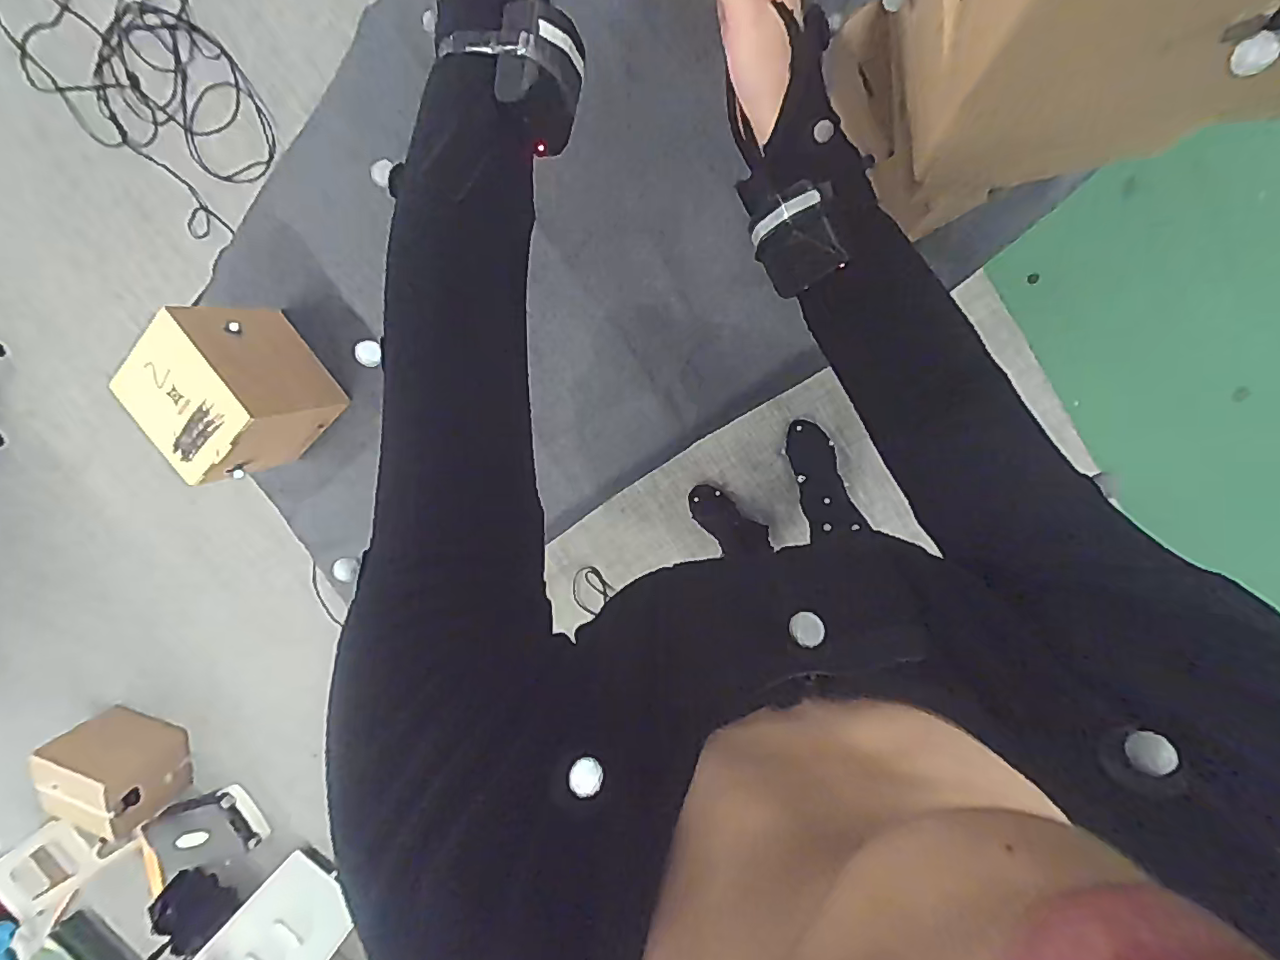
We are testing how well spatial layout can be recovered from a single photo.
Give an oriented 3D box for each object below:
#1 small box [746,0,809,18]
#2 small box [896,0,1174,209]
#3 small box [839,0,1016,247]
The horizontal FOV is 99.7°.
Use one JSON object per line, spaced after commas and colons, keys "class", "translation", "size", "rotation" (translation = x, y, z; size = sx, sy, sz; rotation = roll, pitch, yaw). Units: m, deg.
{"class": "small box", "translation": [0.110, -0.555, 0.462], "size": [0.179, 0.176, 0.168], "rotation": [33, 113, 0]}
{"class": "small box", "translation": [0.257, -0.281, 0.321], "size": [0.179, 0.176, 0.168], "rotation": [-5, 101, 17]}
{"class": "small box", "translation": [0.291, -0.332, 0.474], "size": [0.179, 0.176, 0.168], "rotation": [-26, 94, 21]}
